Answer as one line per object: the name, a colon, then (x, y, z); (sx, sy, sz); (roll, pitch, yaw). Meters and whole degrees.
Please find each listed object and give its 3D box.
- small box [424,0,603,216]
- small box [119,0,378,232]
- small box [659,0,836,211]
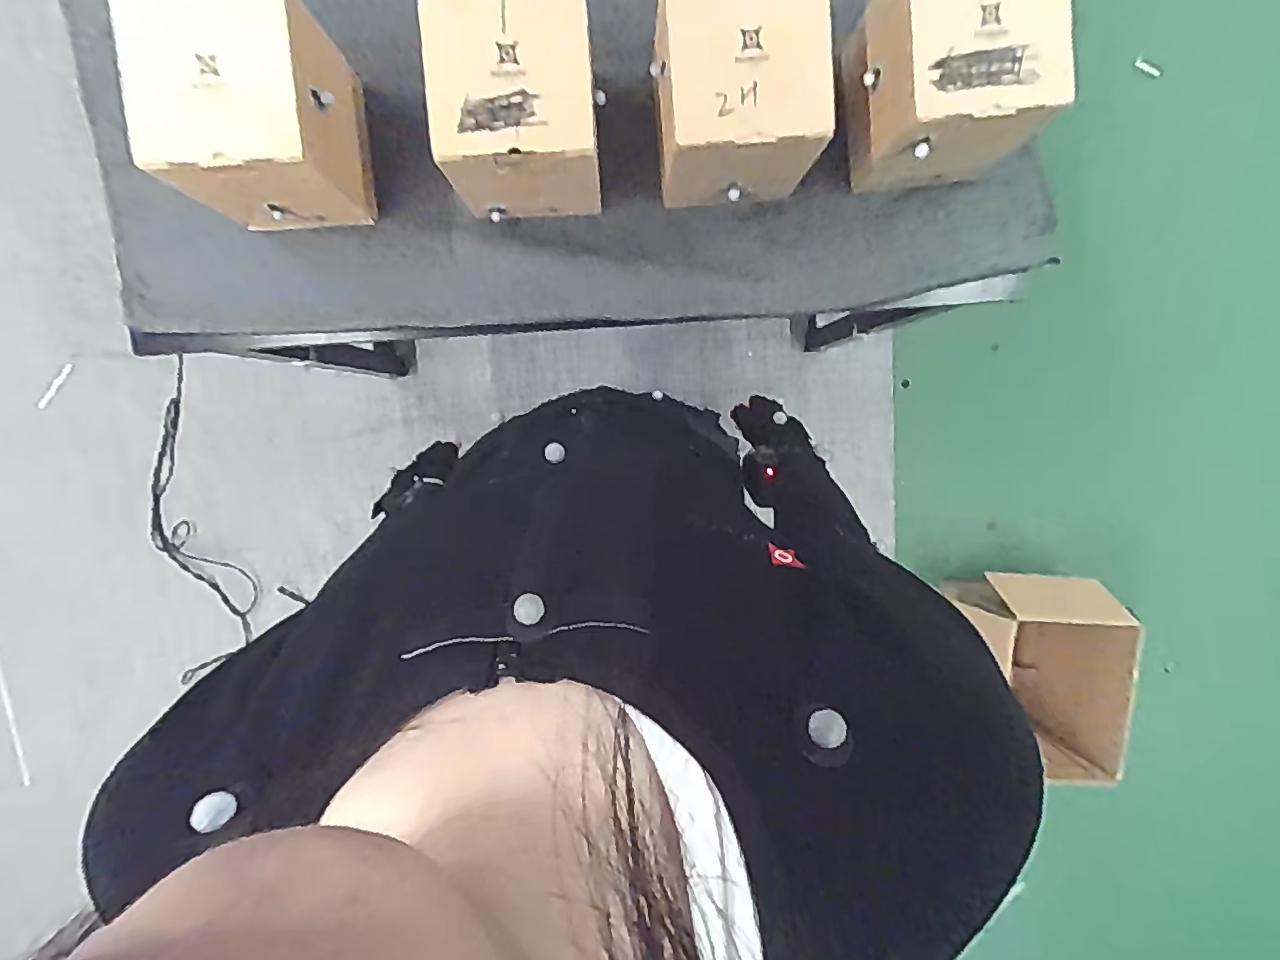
small box: (-0.130, -0.417, 0.617); (0.168, 0.176, 0.179); (-3, 96, -2)
small box: (-0.418, -0.402, 0.608); (0.168, 0.176, 0.179); (-5, 96, -2)
small box: (0.112, -0.437, 0.623); (0.168, 0.176, 0.179); (-5, 96, 0)
